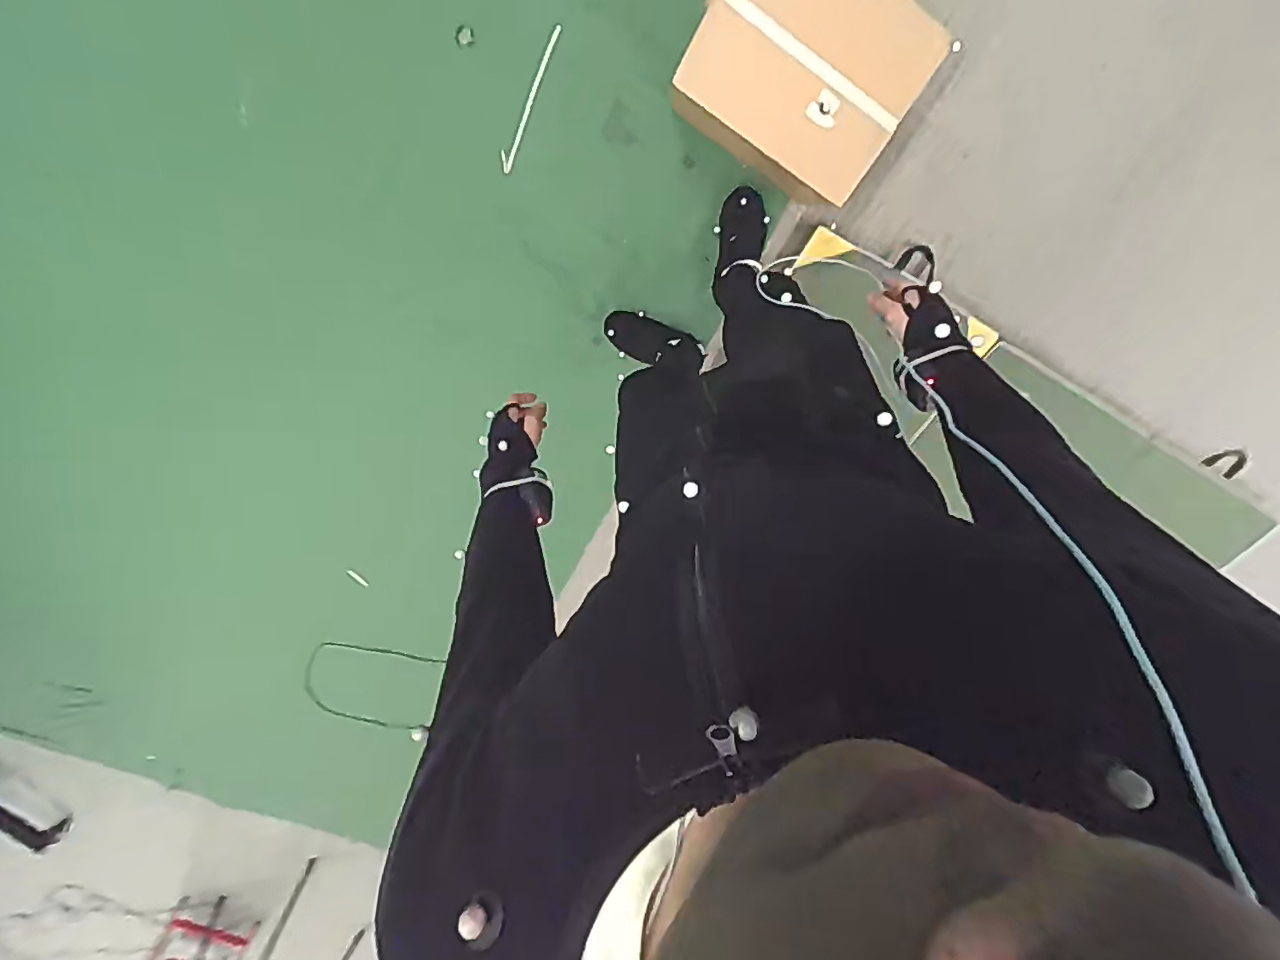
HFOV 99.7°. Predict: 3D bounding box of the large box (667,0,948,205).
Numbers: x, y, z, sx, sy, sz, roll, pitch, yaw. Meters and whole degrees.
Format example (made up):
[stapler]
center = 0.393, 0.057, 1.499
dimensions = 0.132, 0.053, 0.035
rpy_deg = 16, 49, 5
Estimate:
[large box]
center = 0.304, -0.822, 1.109
dimensions = 0.408, 0.320, 0.320
rpy_deg = 28, 116, -13
